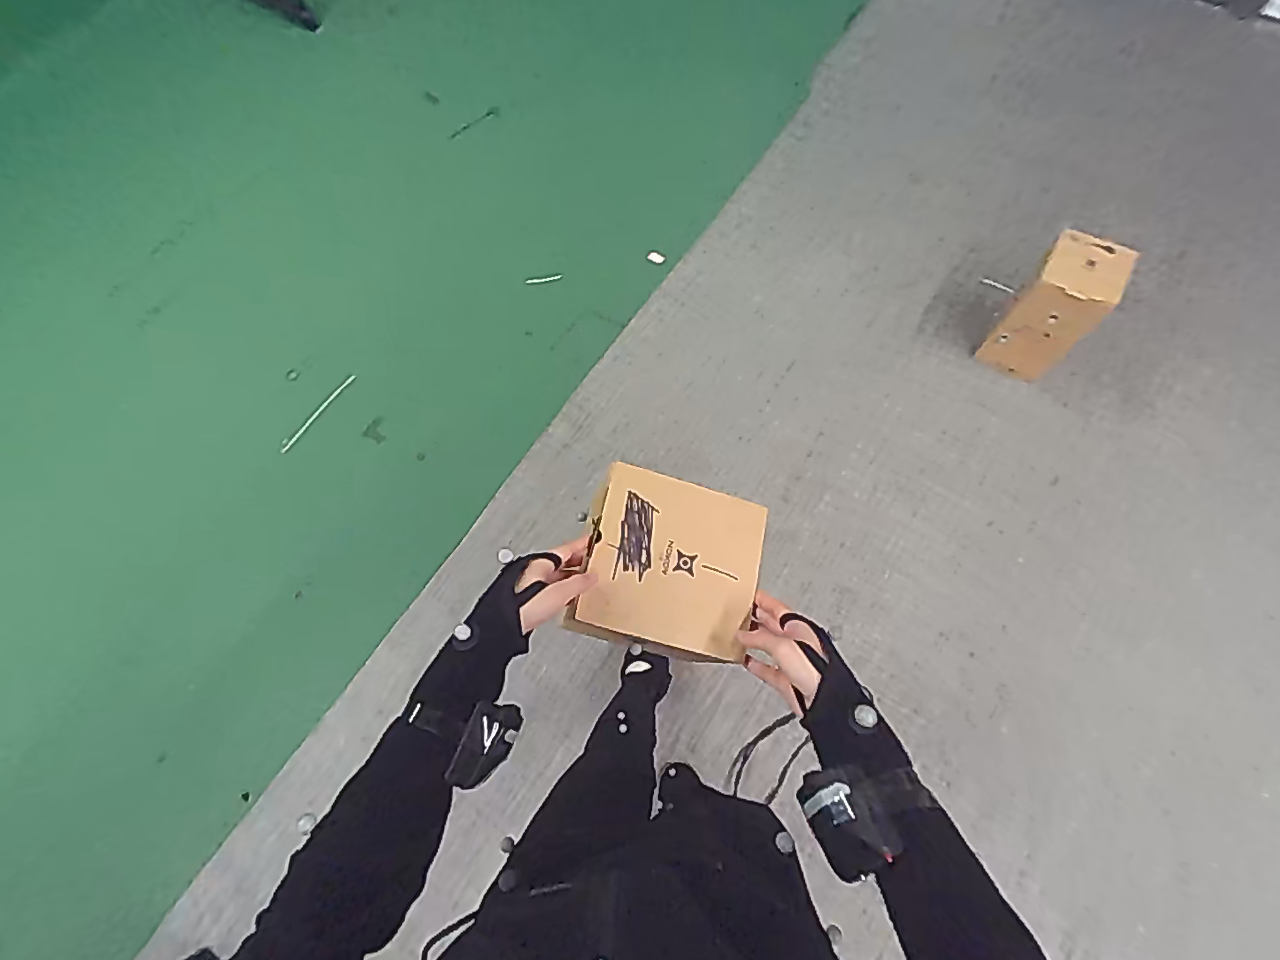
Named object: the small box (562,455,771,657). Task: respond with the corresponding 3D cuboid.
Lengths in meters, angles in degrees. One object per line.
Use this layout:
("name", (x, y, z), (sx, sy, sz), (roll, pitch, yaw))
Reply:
("small box", (0.020, 0.097, 0.609), (0.179, 0.176, 0.168), (19, 69, -9))

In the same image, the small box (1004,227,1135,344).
("small box", (1.023, -0.462, 1.305), (0.168, 0.176, 0.179), (29, 76, 15))
